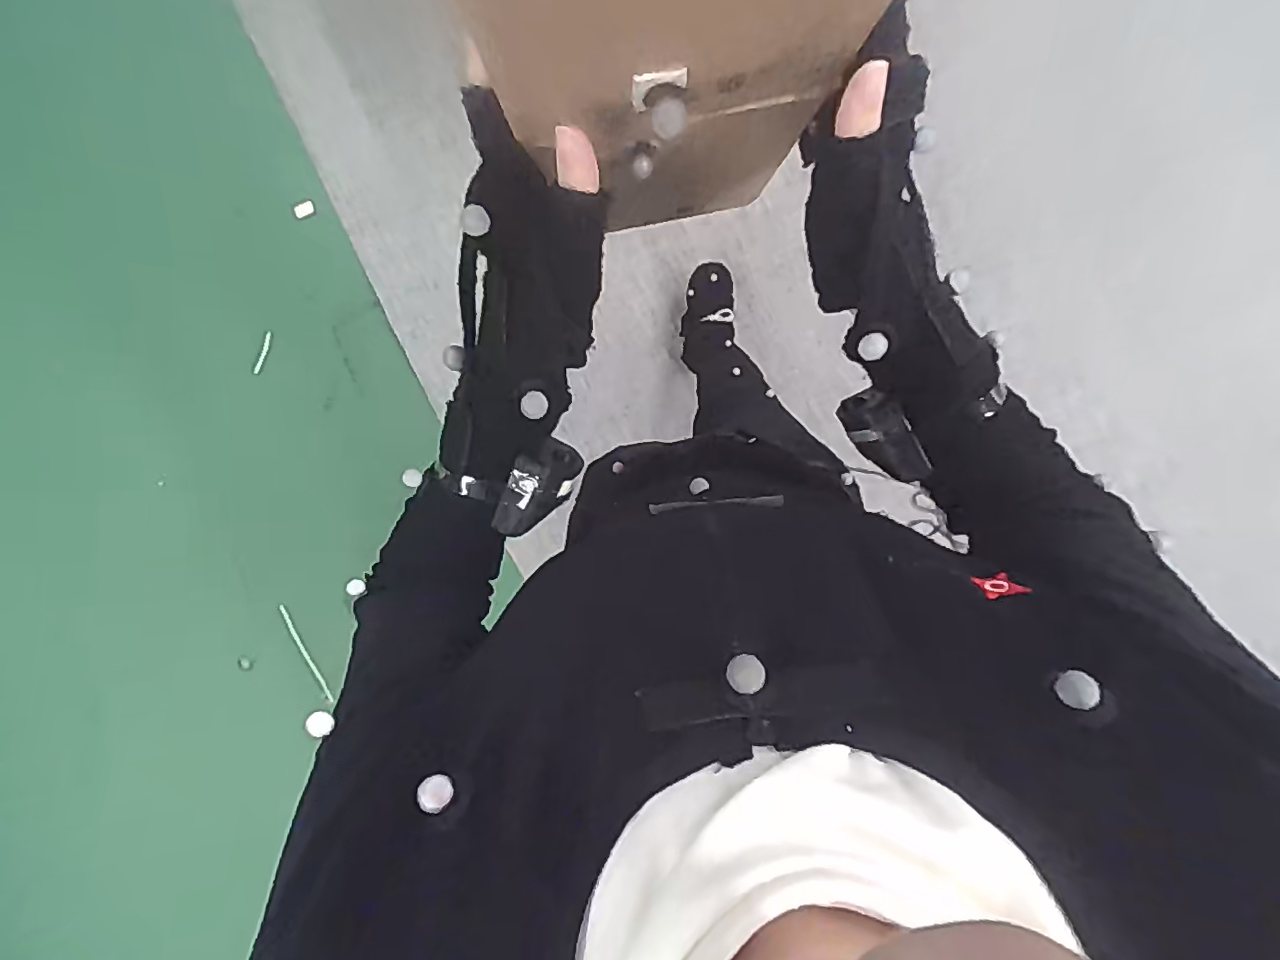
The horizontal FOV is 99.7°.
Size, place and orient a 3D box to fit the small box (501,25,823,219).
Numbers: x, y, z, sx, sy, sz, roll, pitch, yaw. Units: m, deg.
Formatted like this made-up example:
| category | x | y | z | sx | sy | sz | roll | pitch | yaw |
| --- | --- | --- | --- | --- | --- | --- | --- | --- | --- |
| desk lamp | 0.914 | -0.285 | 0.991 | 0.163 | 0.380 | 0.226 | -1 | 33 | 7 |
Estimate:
| category | x | y | z | sx | sy | sz | roll | pitch | yaw |
| --- | --- | --- | --- | --- | --- | --- | --- | --- | --- |
| small box | 0.000 | -0.297 | 0.349 | 0.168 | 0.176 | 0.179 | -10 | 99 | 1 |
